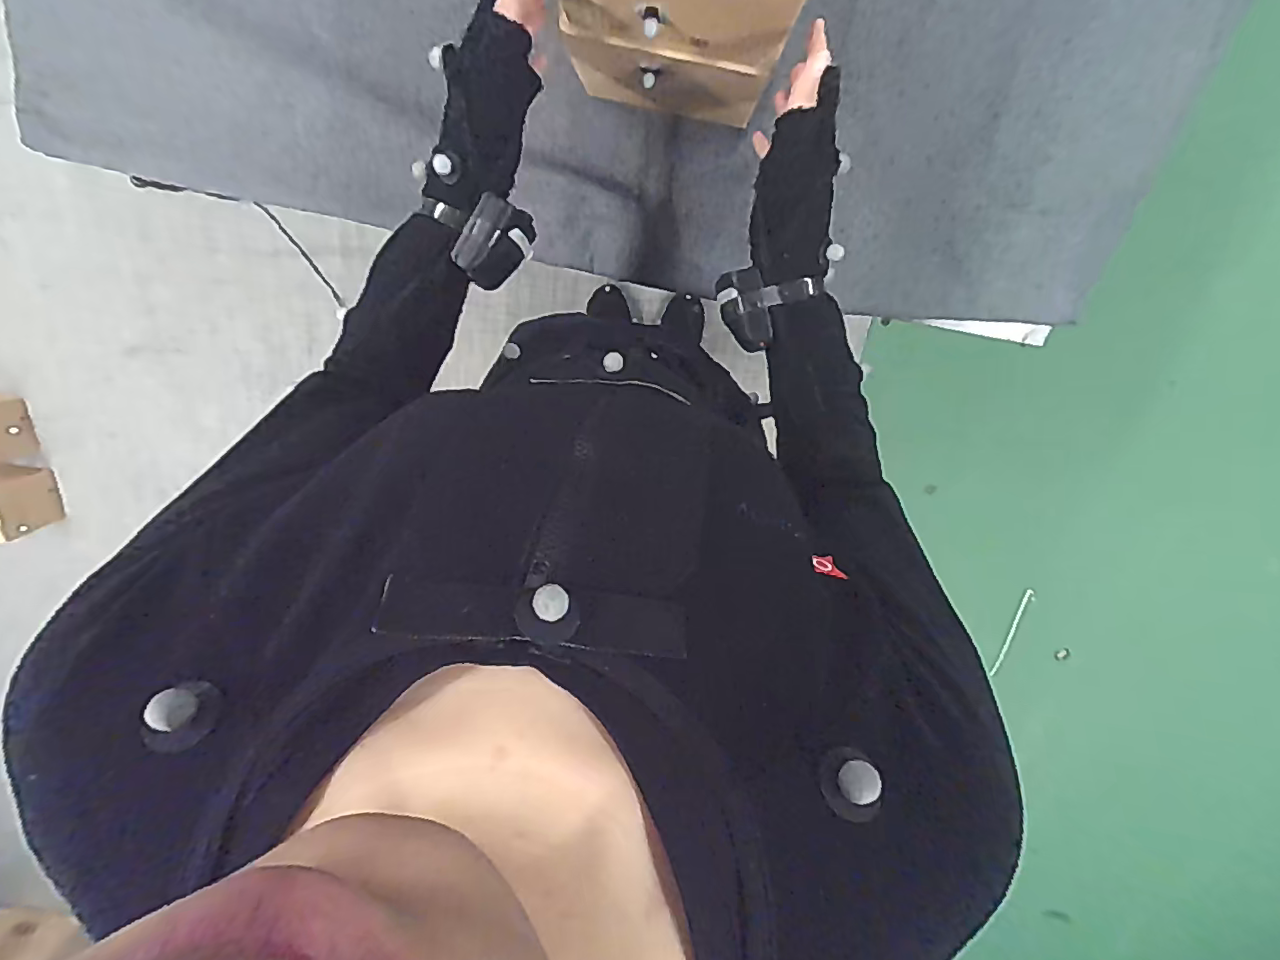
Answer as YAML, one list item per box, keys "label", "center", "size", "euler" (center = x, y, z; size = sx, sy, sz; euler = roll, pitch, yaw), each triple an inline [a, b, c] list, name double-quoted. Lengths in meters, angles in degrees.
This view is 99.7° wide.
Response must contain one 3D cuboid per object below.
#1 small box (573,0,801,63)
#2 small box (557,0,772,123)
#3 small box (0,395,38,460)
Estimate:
- label: "small box"
  center: [0.034, -0.396, 0.326]
  size: [0.168, 0.176, 0.179]
  euler: [10, 112, -1]
- label: "small box"
  center: [0.038, -0.444, 0.481]
  size: [0.179, 0.176, 0.168]
  euler: [11, 112, -1]
- label: "small box"
  center: [-1.861, -0.142, 1.500]
  size: [0.179, 0.176, 0.168]
  euler: [7, 112, 1]
